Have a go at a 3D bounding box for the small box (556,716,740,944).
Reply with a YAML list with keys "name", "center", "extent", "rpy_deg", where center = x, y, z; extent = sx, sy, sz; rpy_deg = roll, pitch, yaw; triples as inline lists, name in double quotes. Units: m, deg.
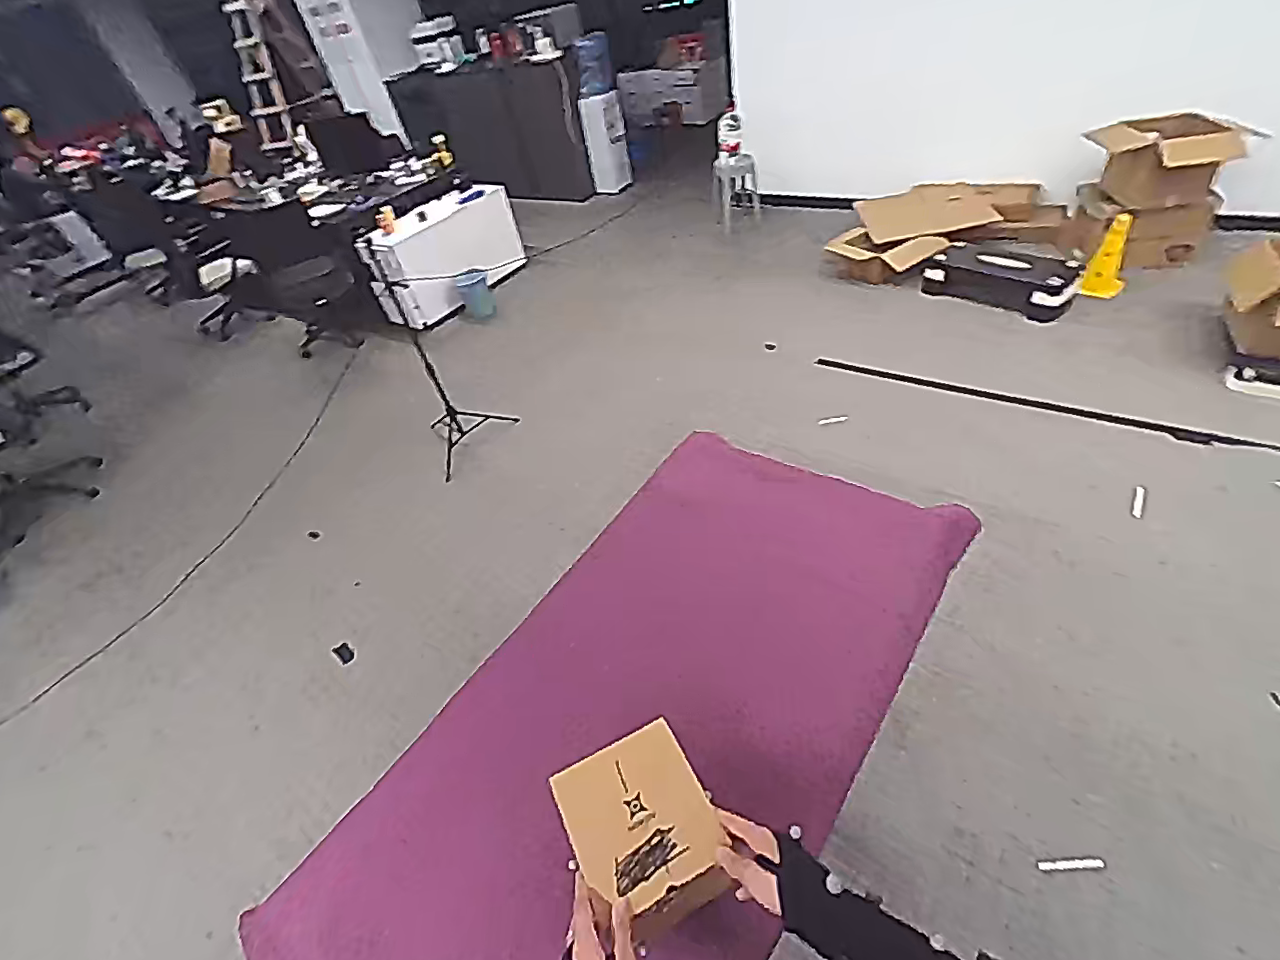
- name: "small box"
  center: [0.010, 0.446, 0.687]
  extent: [0.168, 0.176, 0.179]
  rpy_deg: [-21, 45, -17]
